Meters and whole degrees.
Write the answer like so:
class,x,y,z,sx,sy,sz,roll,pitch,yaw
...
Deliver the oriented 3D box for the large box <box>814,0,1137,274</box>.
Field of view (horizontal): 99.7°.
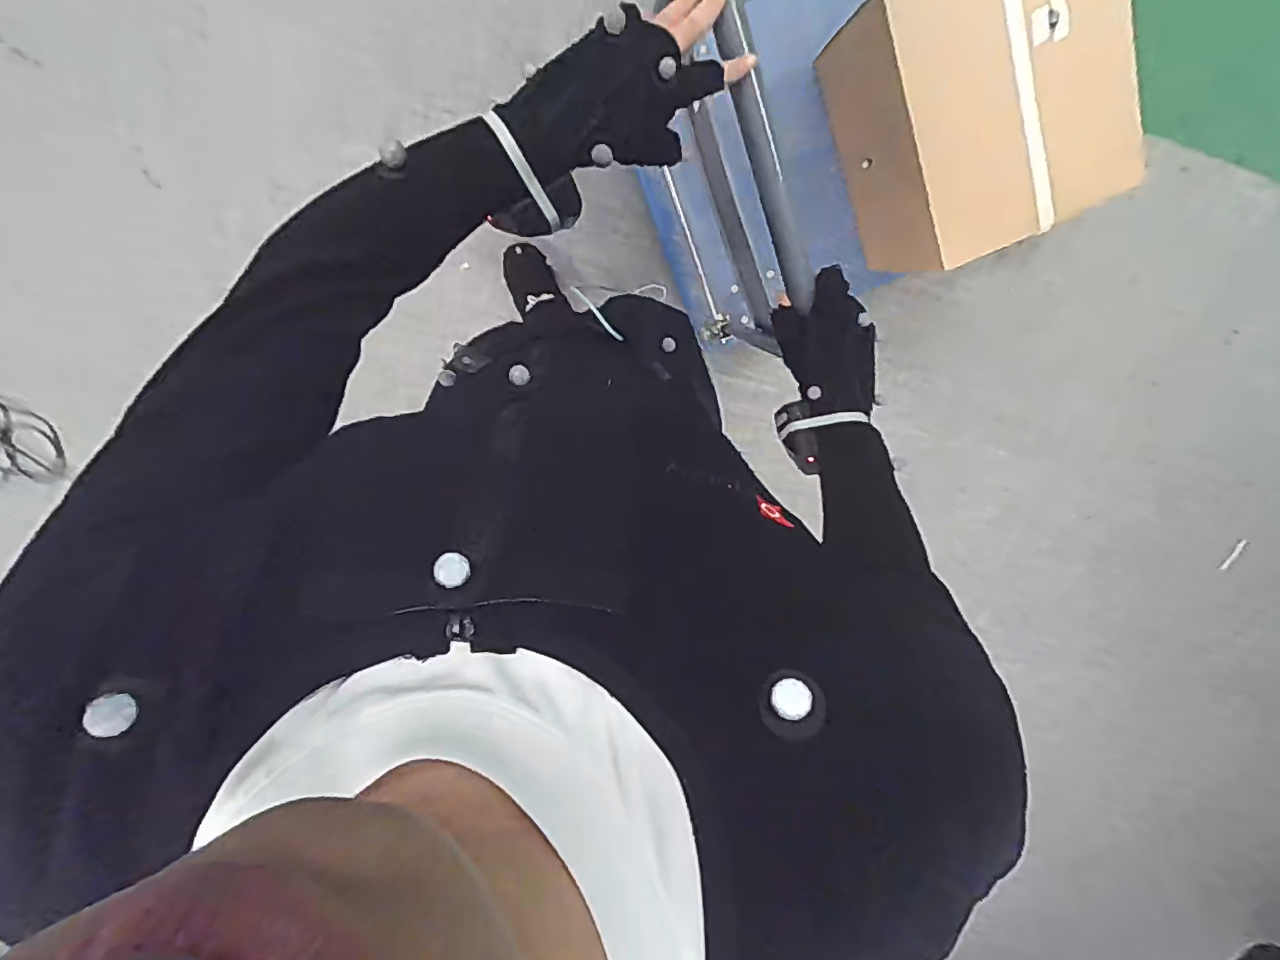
class,x,y,z,sx,sy,sz,roll,pitch,yaw
large box,0.540,-0.611,0.923,0.320,0.320,0.408,-23,109,8
